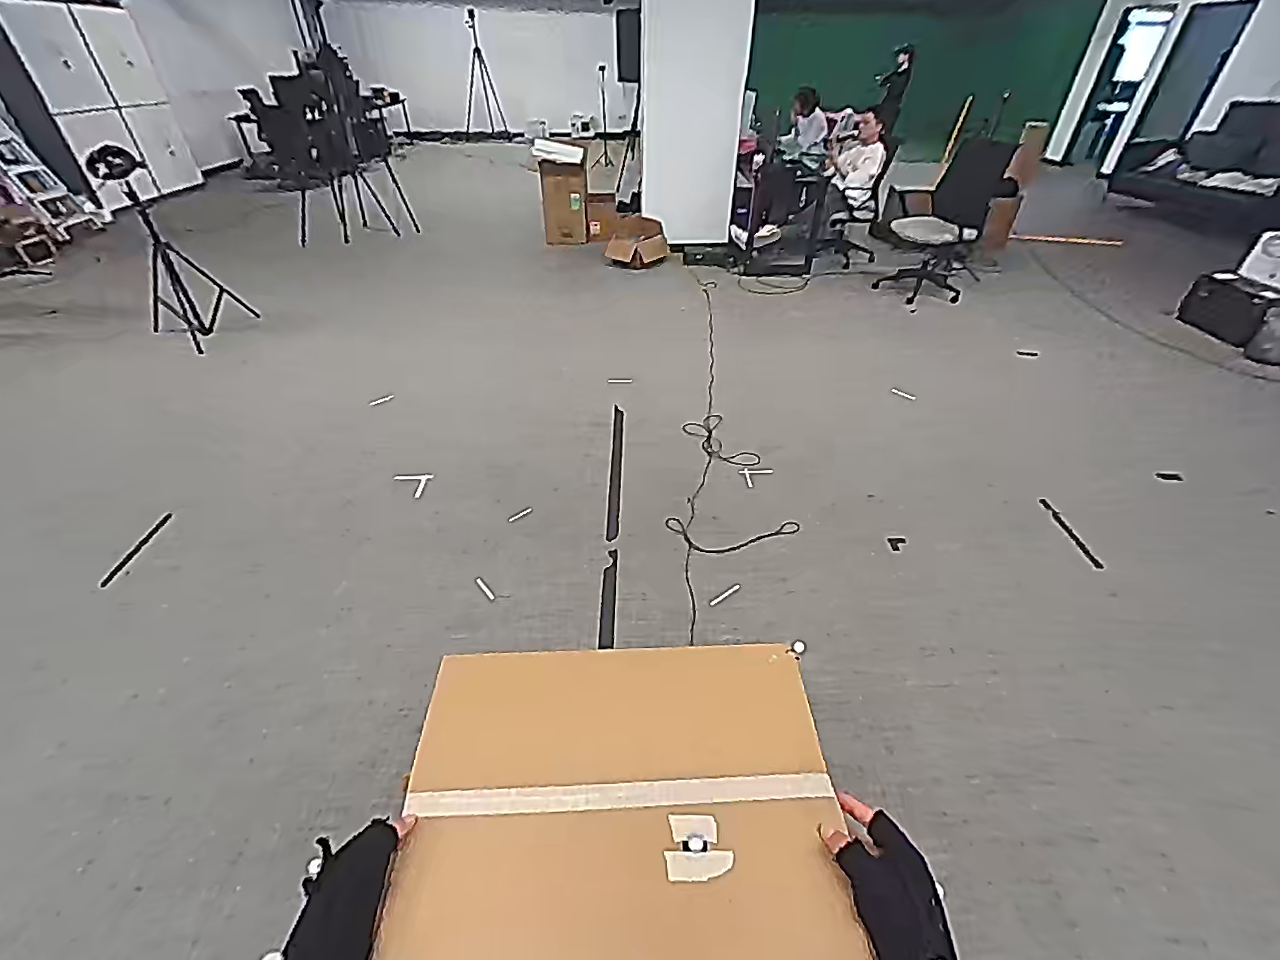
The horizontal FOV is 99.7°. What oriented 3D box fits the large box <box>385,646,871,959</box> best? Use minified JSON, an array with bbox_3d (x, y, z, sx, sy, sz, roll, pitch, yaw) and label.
[{"bbox_3d":[-0.019,0.420,0.630,0.408,0.320,0.320,-1,42,-2],"label":"large box"}]
